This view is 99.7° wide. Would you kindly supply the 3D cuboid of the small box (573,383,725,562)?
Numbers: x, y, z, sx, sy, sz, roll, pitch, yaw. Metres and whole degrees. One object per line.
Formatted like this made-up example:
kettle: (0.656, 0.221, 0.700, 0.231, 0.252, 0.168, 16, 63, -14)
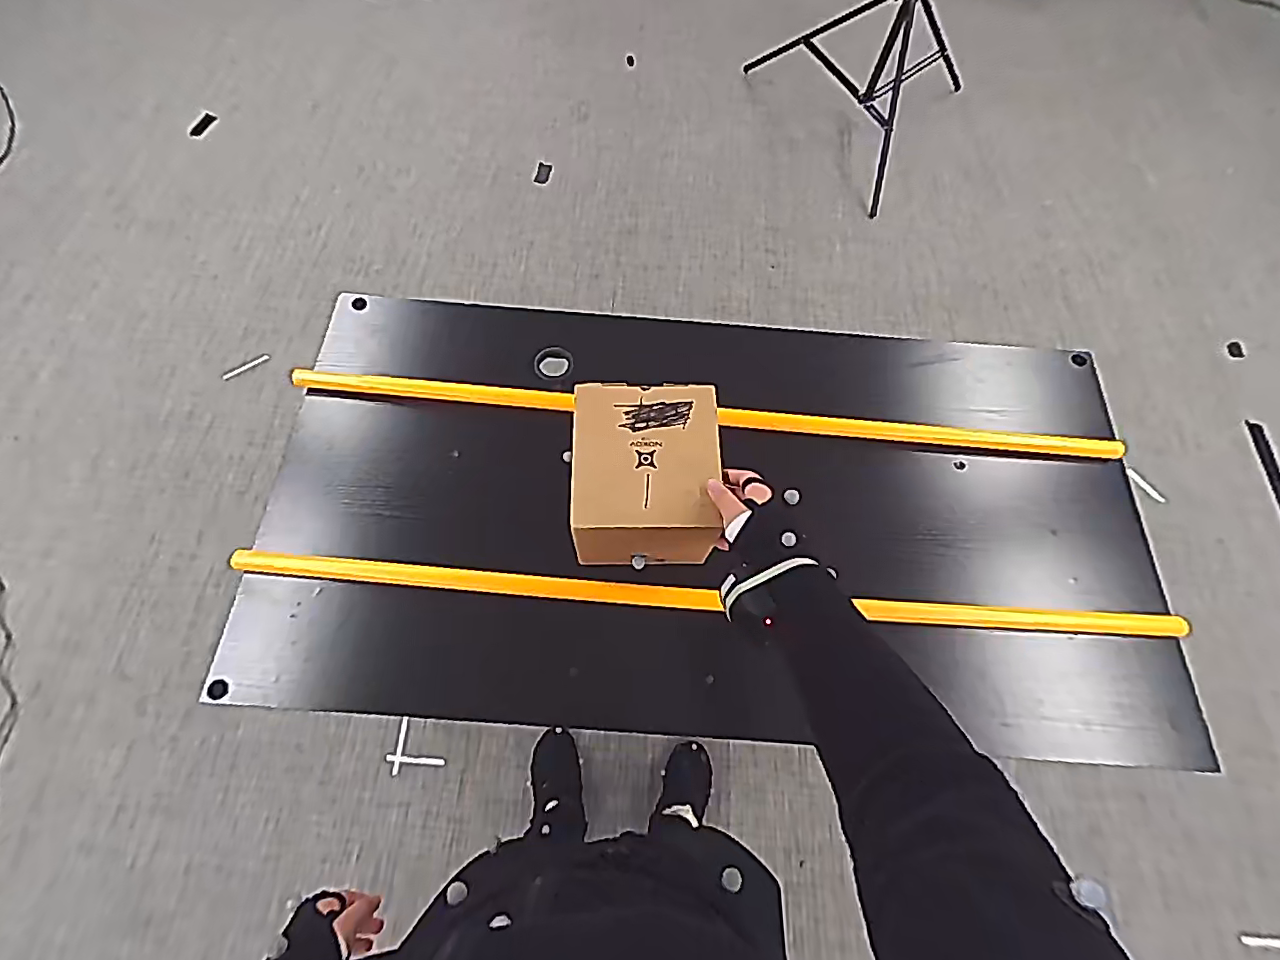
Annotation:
small box: (0.006, -0.003, 0.680, 0.168, 0.176, 0.179, 0, 68, -2)
